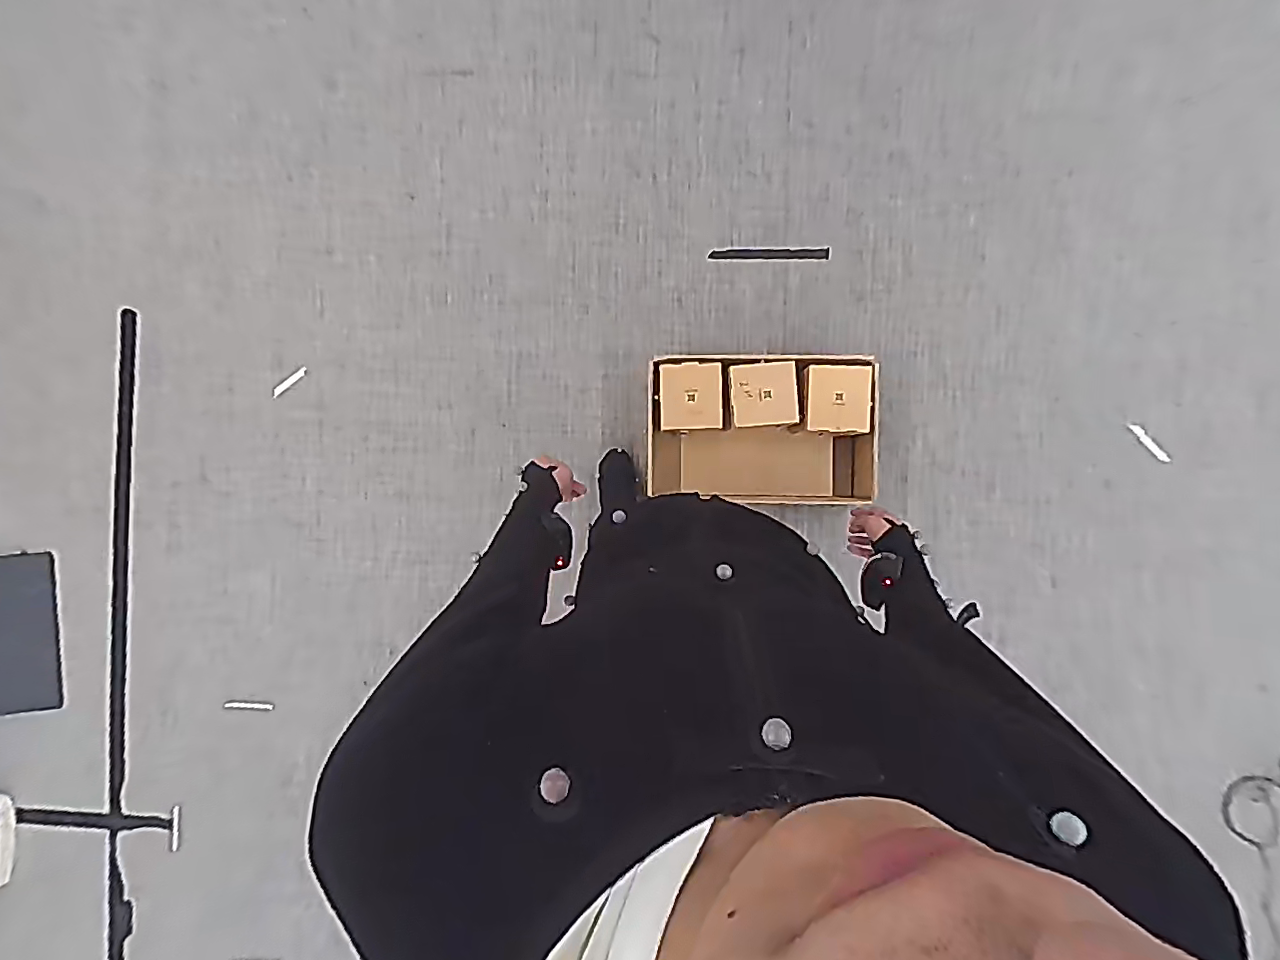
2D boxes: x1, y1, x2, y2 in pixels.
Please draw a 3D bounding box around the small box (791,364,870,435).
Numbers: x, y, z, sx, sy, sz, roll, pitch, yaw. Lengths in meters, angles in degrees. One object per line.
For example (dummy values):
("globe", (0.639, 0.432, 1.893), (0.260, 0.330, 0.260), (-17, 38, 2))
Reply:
("small box", (0.523, -0.220, 1.502), (0.168, 0.176, 0.179), (1, 93, 3))
